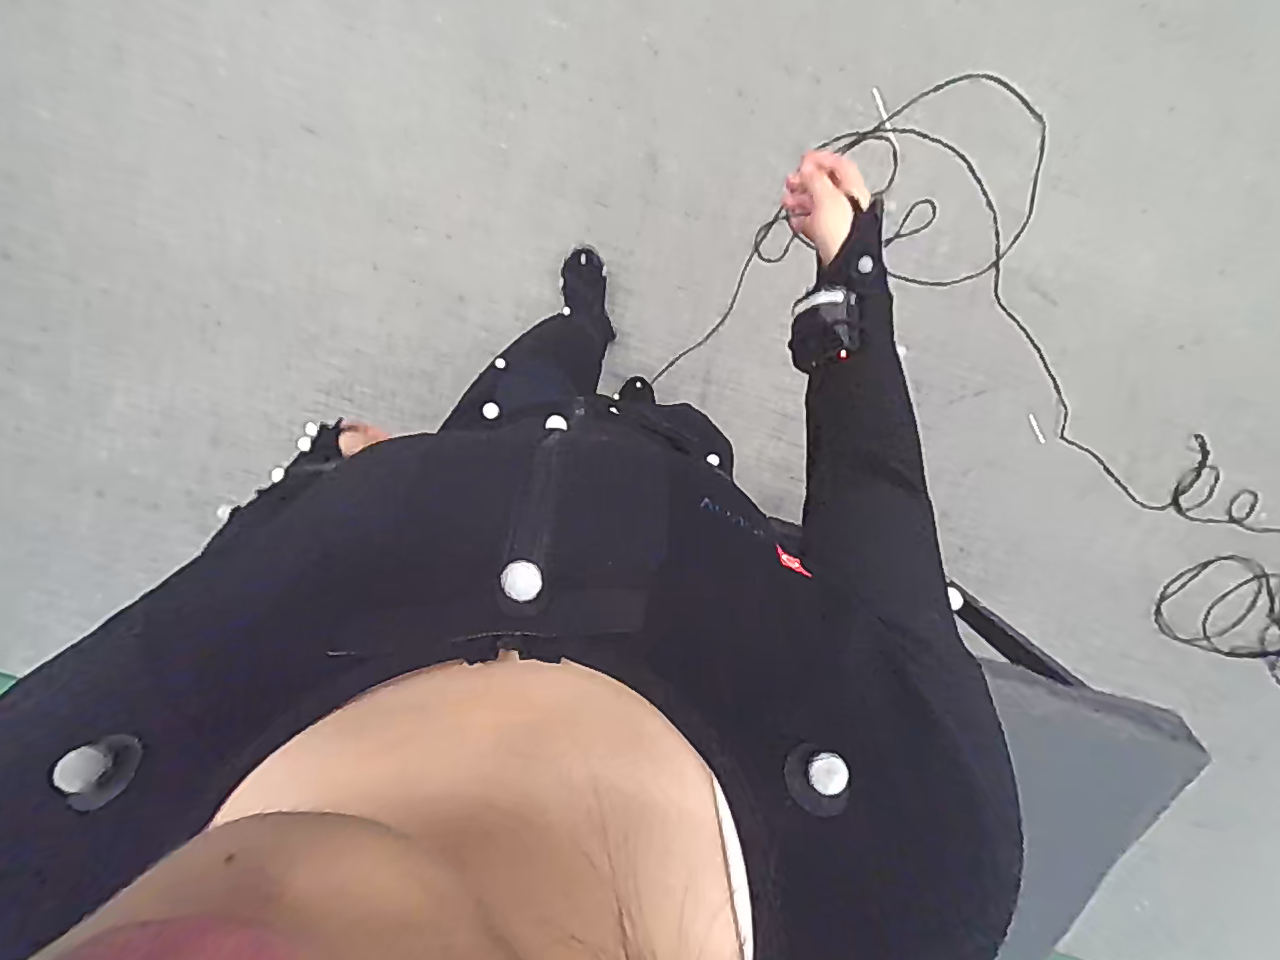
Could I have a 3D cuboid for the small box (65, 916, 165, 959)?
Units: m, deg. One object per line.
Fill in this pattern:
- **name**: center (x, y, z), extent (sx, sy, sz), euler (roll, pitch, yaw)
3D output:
- **small box**: center (-1.391, 1.296, 1.402), extent (0.168, 0.176, 0.179), euler (22, 104, -5)
